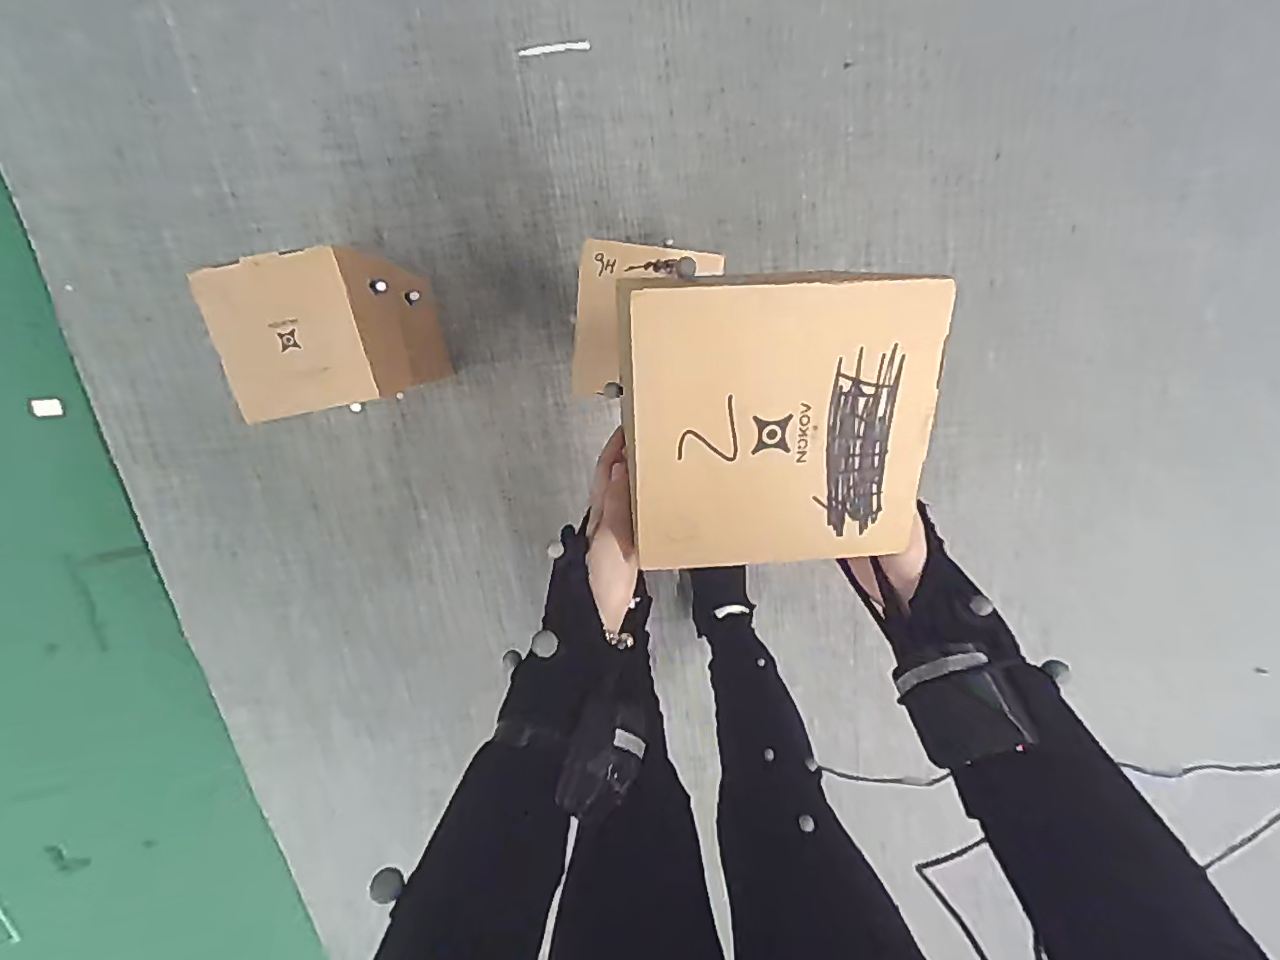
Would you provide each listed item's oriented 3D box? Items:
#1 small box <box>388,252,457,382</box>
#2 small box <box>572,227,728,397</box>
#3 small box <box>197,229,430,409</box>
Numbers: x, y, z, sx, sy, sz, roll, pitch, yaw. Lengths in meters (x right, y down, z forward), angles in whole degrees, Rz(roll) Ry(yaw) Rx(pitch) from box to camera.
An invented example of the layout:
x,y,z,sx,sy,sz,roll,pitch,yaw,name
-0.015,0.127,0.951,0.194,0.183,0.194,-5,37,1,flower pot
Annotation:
x,y,z,sx,sy,sz,roll,pitch,yaw,name
-0.409,-0.240,0.849,0.168,0.176,0.179,-12,107,1,small box
0.007,-0.216,0.707,0.168,0.176,0.179,6,107,-4,small box
-0.396,-0.201,0.692,0.168,0.176,0.179,-11,107,2,small box
